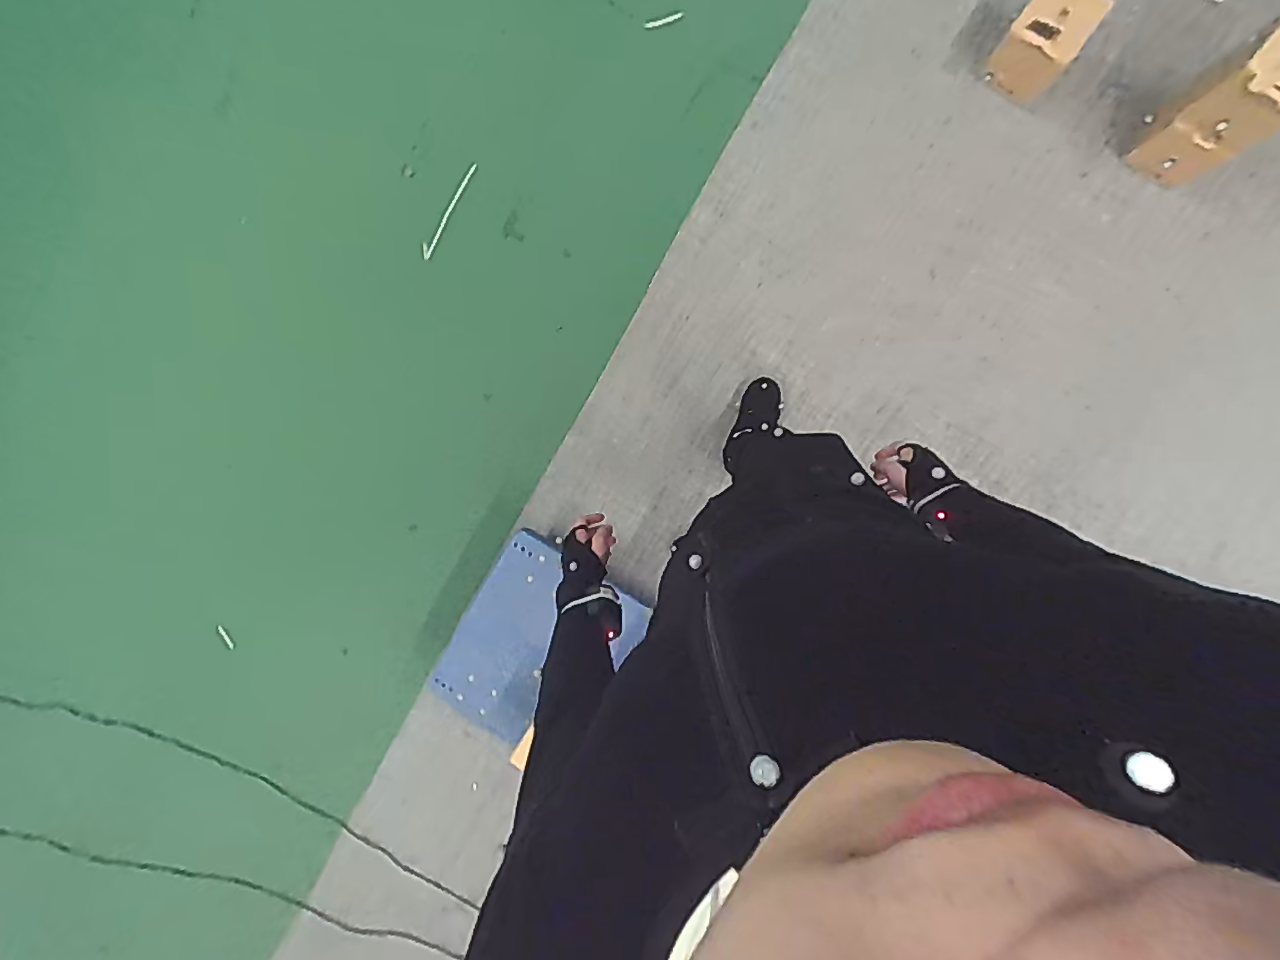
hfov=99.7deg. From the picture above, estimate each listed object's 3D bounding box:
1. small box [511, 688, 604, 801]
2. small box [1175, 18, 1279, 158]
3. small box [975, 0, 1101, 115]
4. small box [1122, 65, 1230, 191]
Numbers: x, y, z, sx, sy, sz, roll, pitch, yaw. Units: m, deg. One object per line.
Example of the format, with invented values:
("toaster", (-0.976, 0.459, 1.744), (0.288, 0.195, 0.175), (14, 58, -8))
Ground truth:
("small box", (-0.214, 0.706, 1.462), (0.168, 0.176, 0.179), (32, 95, 3))
("small box", (1.368, -0.868, 1.193), (0.168, 0.176, 0.179), (38, 97, 4))
("small box", (1.013, -1.104, 1.400), (0.168, 0.176, 0.179), (36, 96, 2))
("small box", (1.380, -0.870, 1.358), (0.168, 0.176, 0.179), (33, 97, 3))
